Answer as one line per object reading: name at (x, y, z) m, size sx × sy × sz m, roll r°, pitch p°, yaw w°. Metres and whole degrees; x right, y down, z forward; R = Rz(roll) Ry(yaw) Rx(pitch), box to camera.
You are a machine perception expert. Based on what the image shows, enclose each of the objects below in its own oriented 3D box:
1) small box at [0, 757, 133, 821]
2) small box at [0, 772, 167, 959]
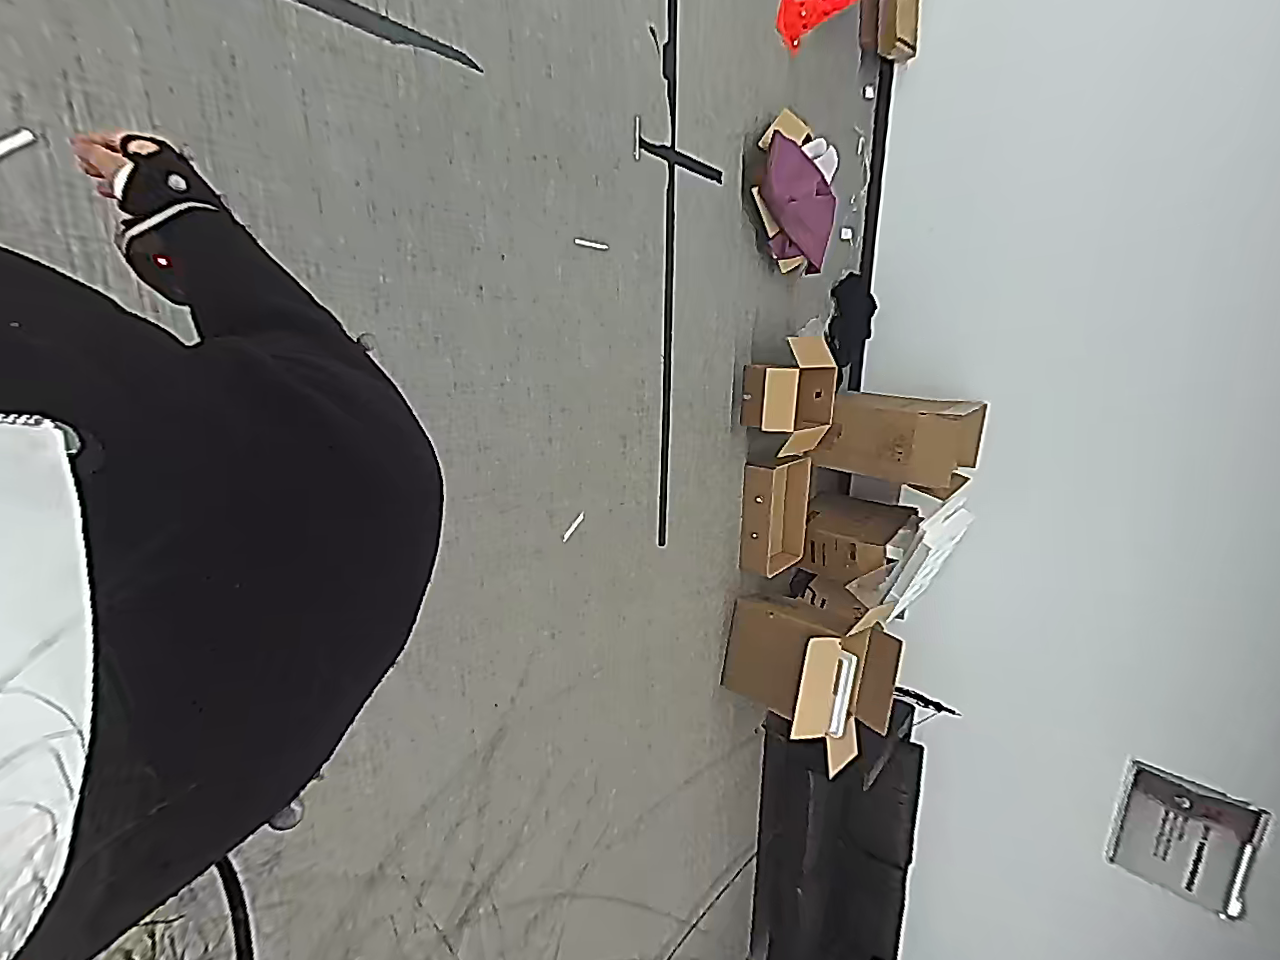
small box at (-0.975, 0.561, 0.928) m, size 0.168 × 0.176 × 0.179 m, roll -16°, pitch 112°, yaw -45°
small box at (-0.854, 0.595, 0.822) m, size 0.168 × 0.176 × 0.179 m, roll -18°, pitch 112°, yaw -44°
